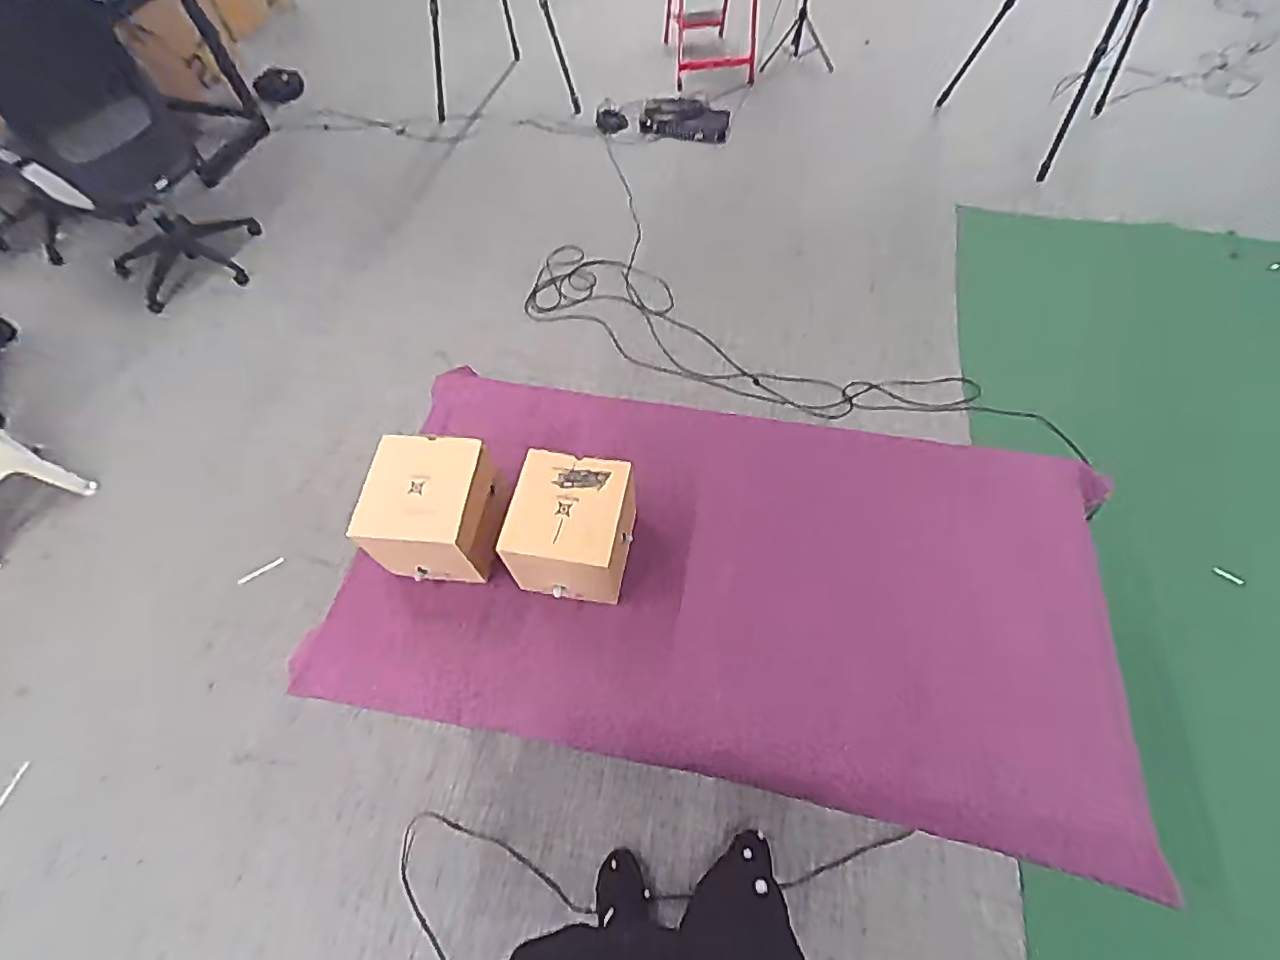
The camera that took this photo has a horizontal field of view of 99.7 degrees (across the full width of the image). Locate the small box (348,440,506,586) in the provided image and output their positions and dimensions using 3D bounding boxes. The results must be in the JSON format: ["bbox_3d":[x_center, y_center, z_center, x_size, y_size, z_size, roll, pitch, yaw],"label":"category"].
[{"bbox_3d":[-0.332,0.057,0.888,0.168,0.176,0.179,4,60,6],"label":"small box"}]

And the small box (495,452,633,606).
[{"bbox_3d":[-0.107,0.081,0.861,0.168,0.176,0.179,8,60,8],"label":"small box"}]
